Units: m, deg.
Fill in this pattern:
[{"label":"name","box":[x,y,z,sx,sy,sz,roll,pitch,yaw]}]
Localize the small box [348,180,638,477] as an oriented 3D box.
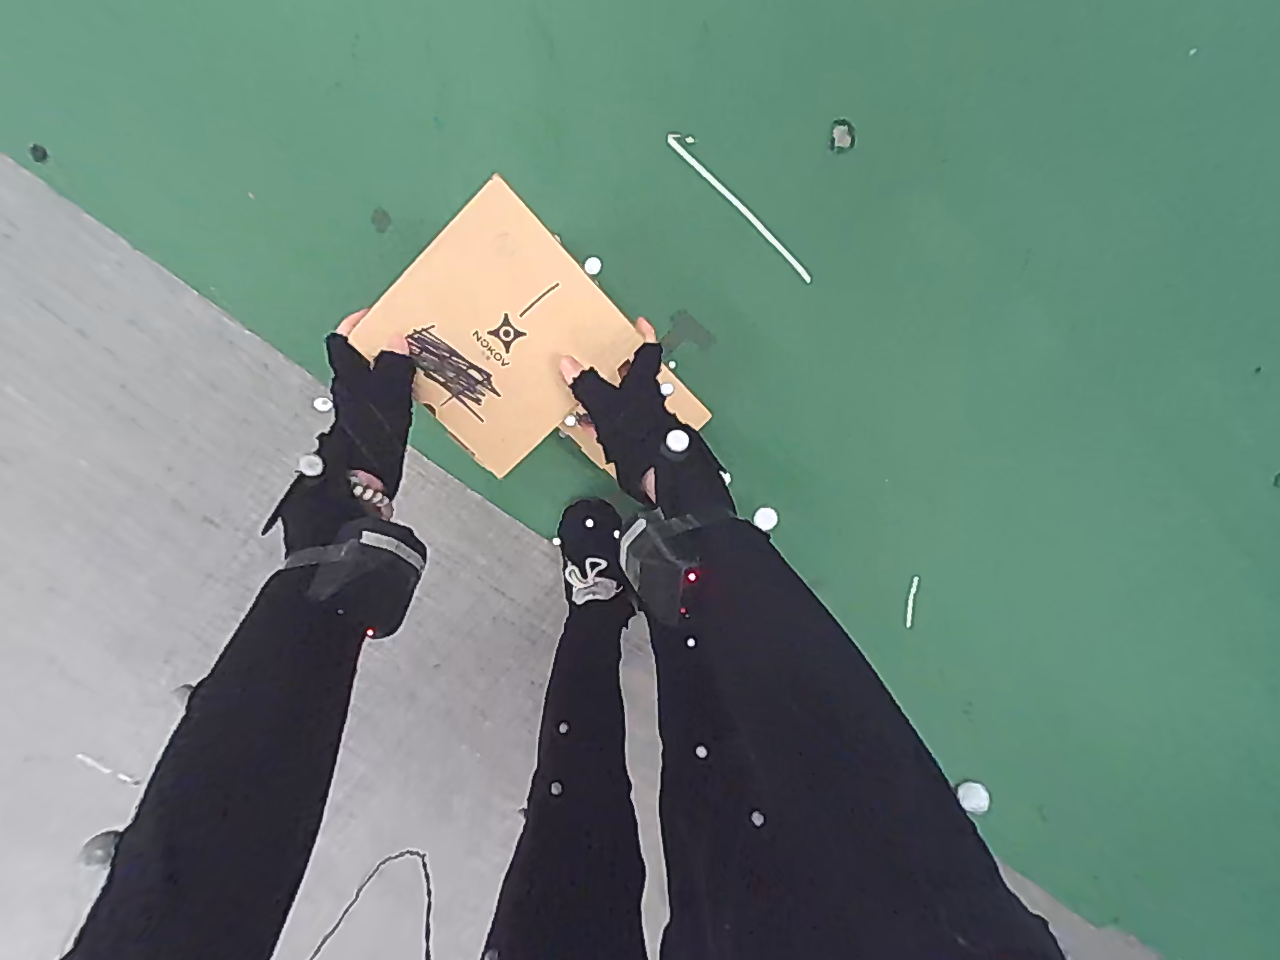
[{"label":"small box","box":[-0.120,-0.136,0.509,0.179,0.176,0.168,-42,107,9]}]
